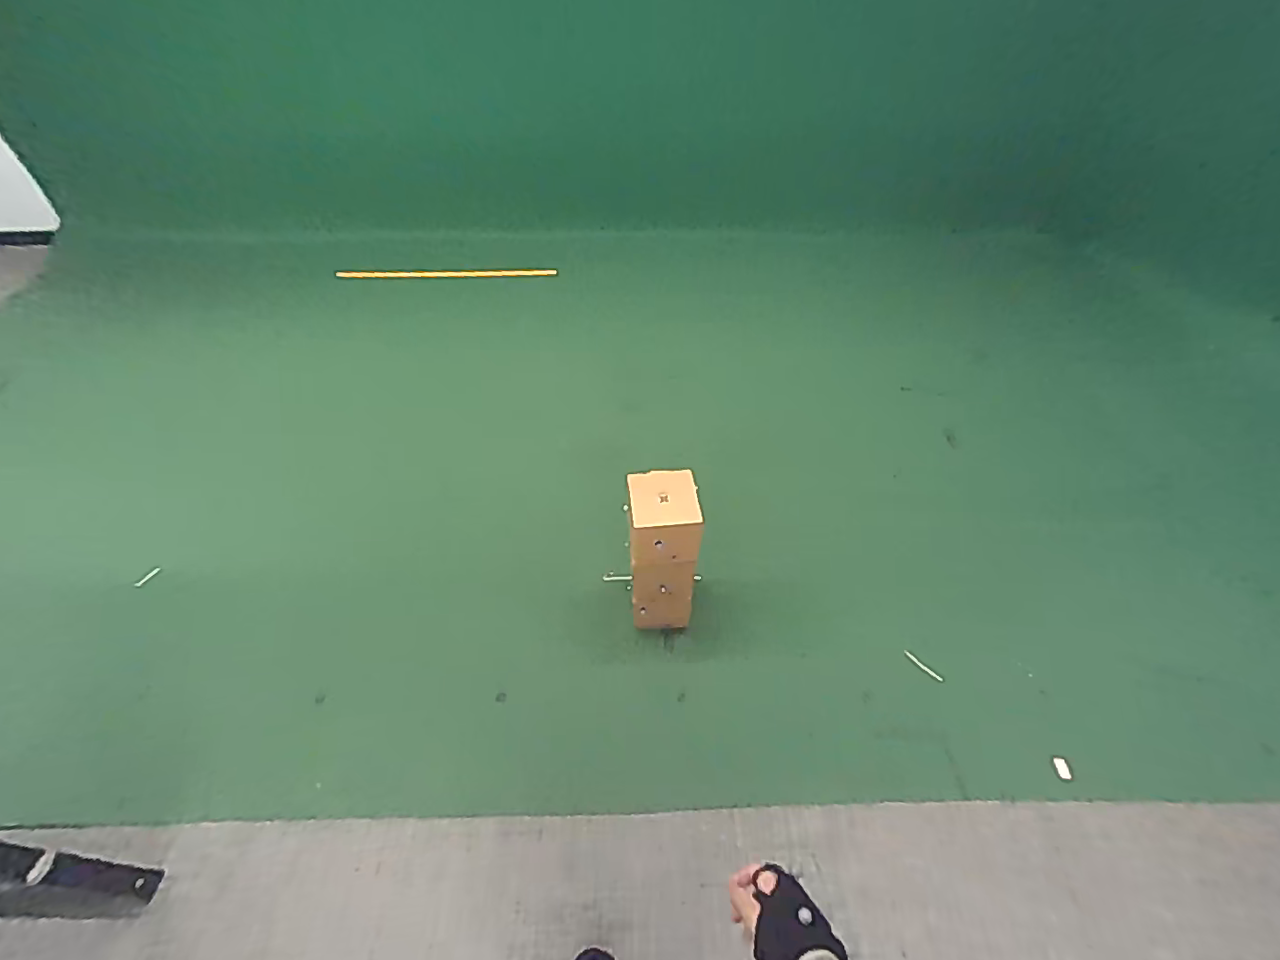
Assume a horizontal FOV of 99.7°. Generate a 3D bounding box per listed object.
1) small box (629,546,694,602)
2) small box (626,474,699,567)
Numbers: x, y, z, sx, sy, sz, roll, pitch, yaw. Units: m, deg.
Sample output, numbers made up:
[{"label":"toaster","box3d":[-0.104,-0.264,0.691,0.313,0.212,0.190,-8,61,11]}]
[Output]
[{"label":"small box","box3d":[0.053,0.217,1.502,0.168,0.176,0.179,-3,47,-2]},{"label":"small box","box3d":[0.054,0.110,1.381,0.168,0.176,0.179,-5,47,-4]}]
